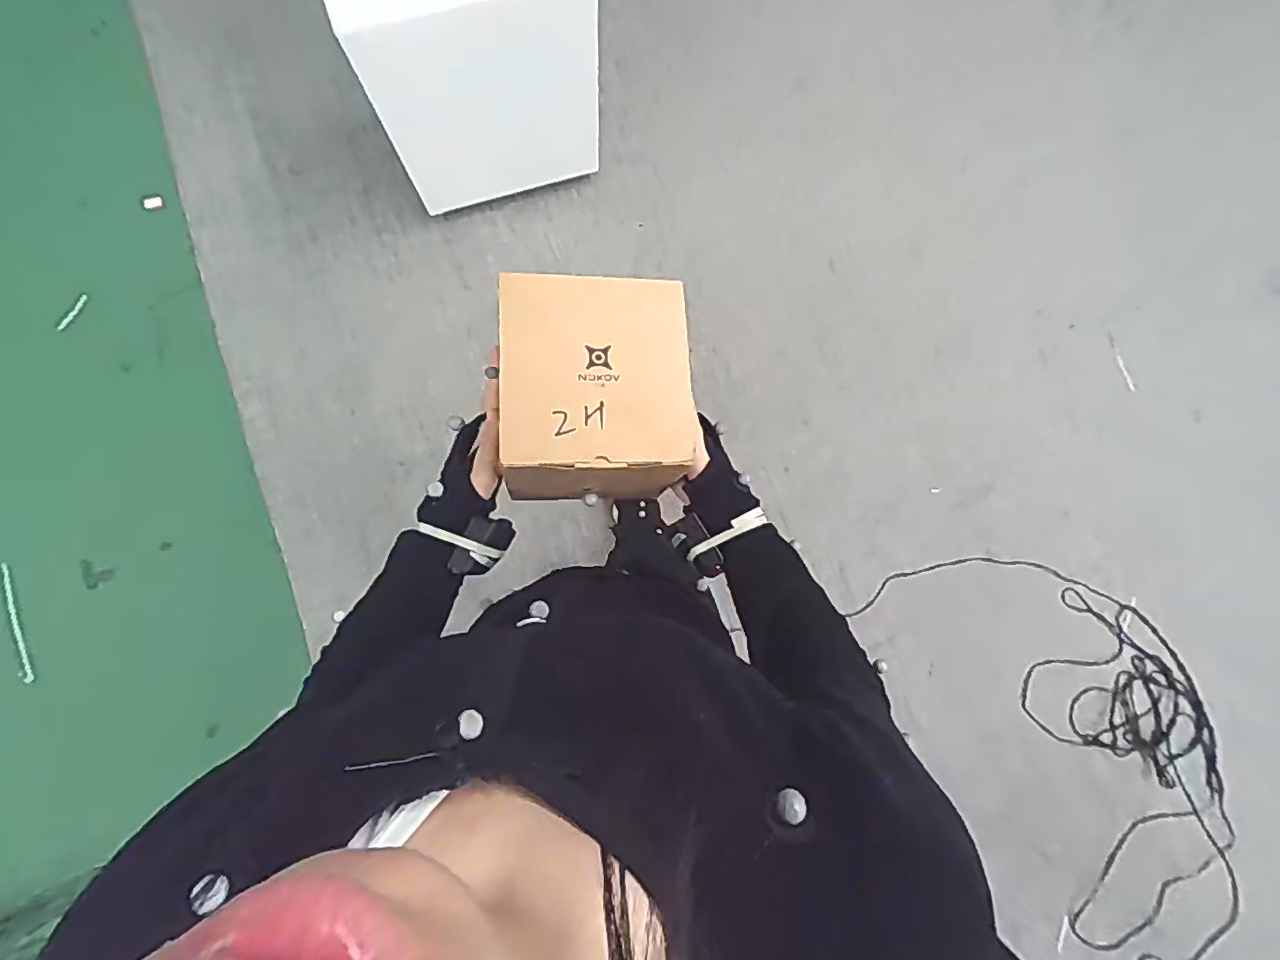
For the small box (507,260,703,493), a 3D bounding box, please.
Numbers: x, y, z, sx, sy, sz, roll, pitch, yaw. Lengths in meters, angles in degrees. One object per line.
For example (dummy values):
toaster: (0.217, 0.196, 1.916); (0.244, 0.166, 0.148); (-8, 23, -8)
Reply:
small box: (-0.044, -0.088, 0.536); (0.168, 0.176, 0.179); (-1, 79, -10)
